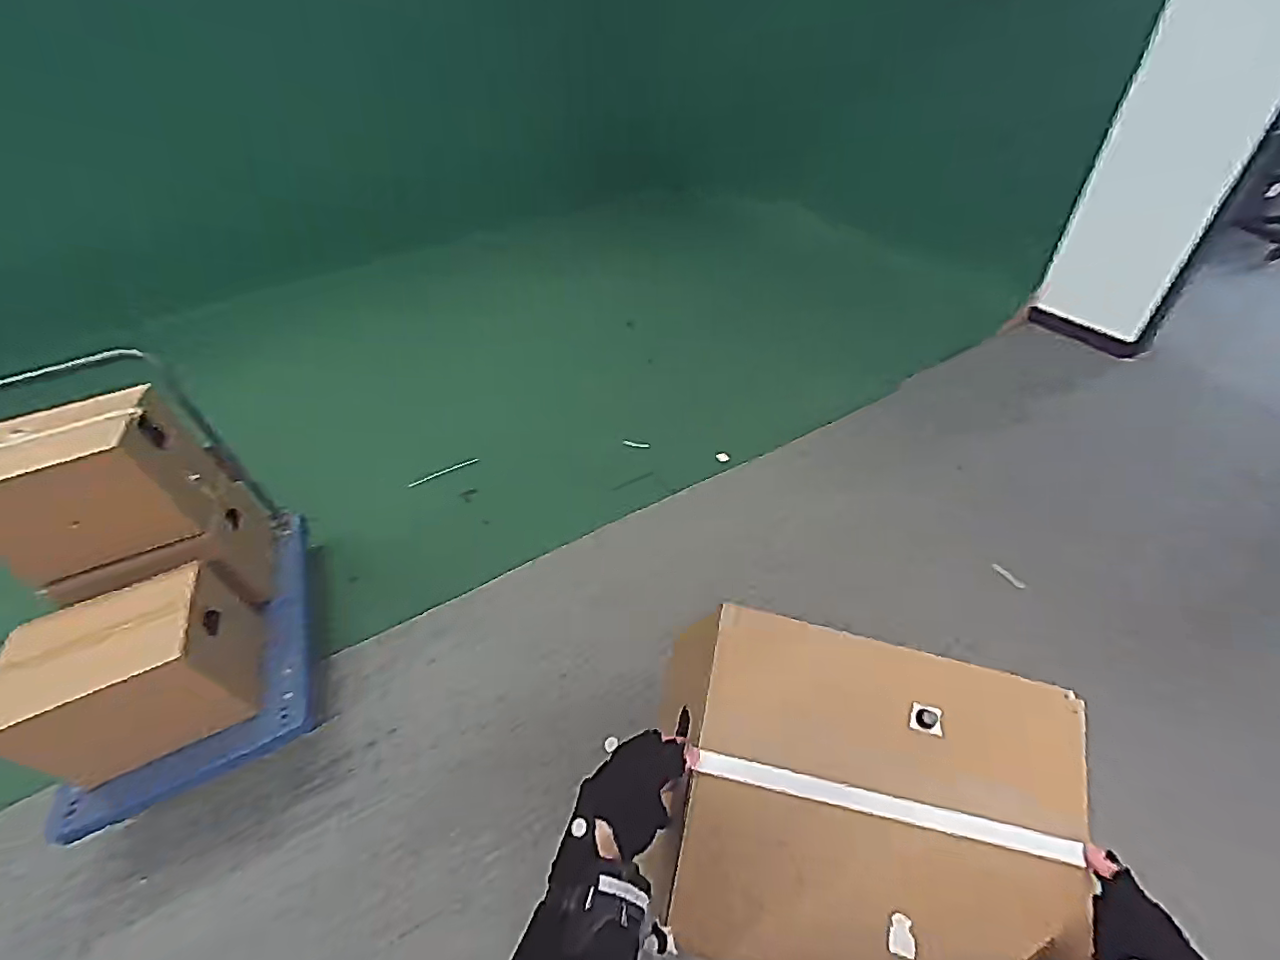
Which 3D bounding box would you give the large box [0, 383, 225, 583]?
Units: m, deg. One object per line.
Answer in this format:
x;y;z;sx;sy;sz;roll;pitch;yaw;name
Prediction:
-1.412;0.003;1.421;0.408;0.320;0.320;-21;44;-11;large box
